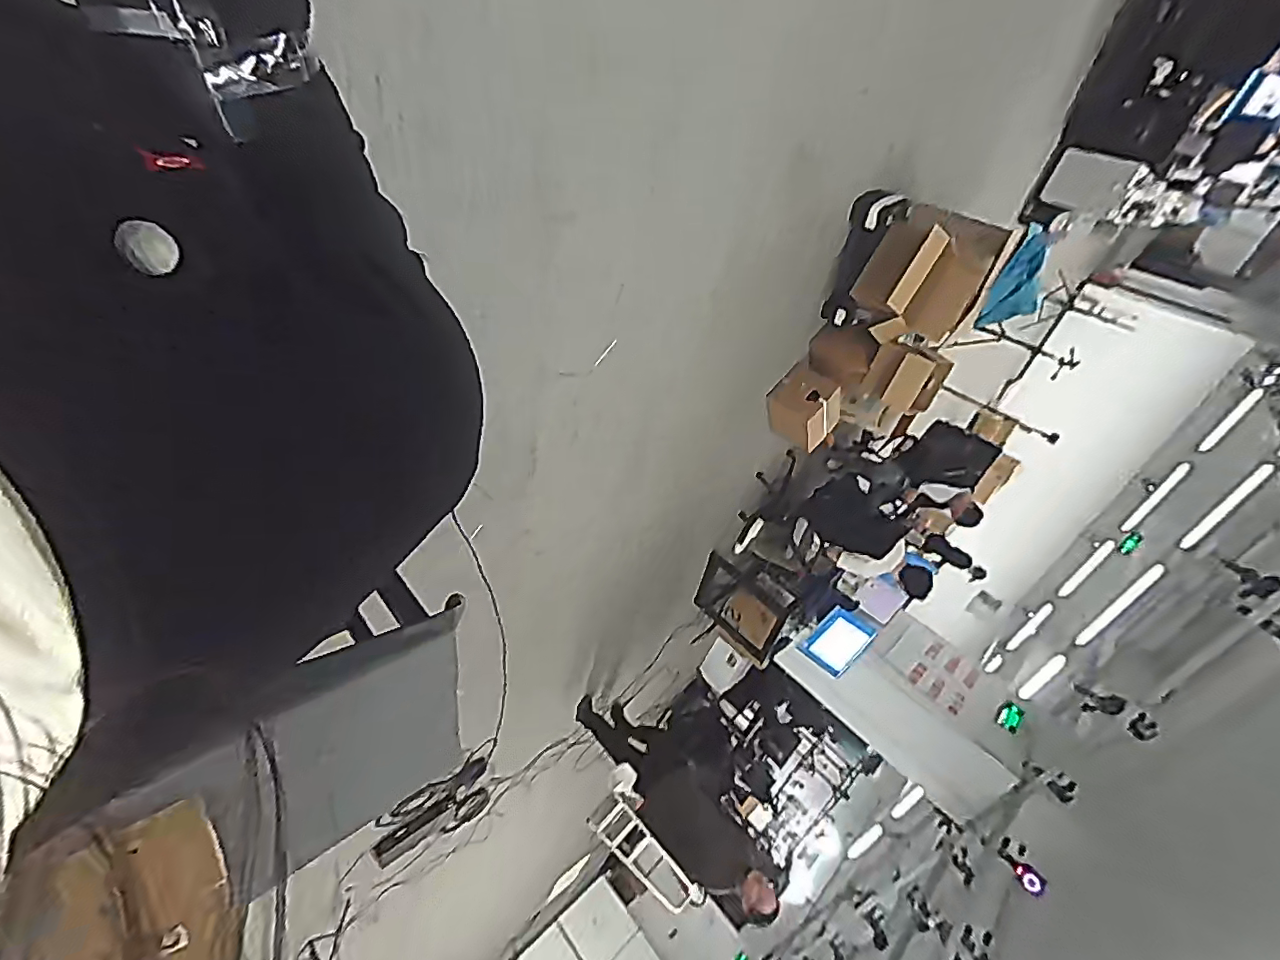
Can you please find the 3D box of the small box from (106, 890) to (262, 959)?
[{"bbox_3d":[-0.661,0.758,0.795,0.168,0.176,0.179,-24,139,-42],"label":"small box"}]

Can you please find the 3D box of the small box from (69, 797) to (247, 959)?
[{"bbox_3d":[-0.771,0.663,0.869,0.179,0.176,0.168,-20,138,-41],"label":"small box"}]
